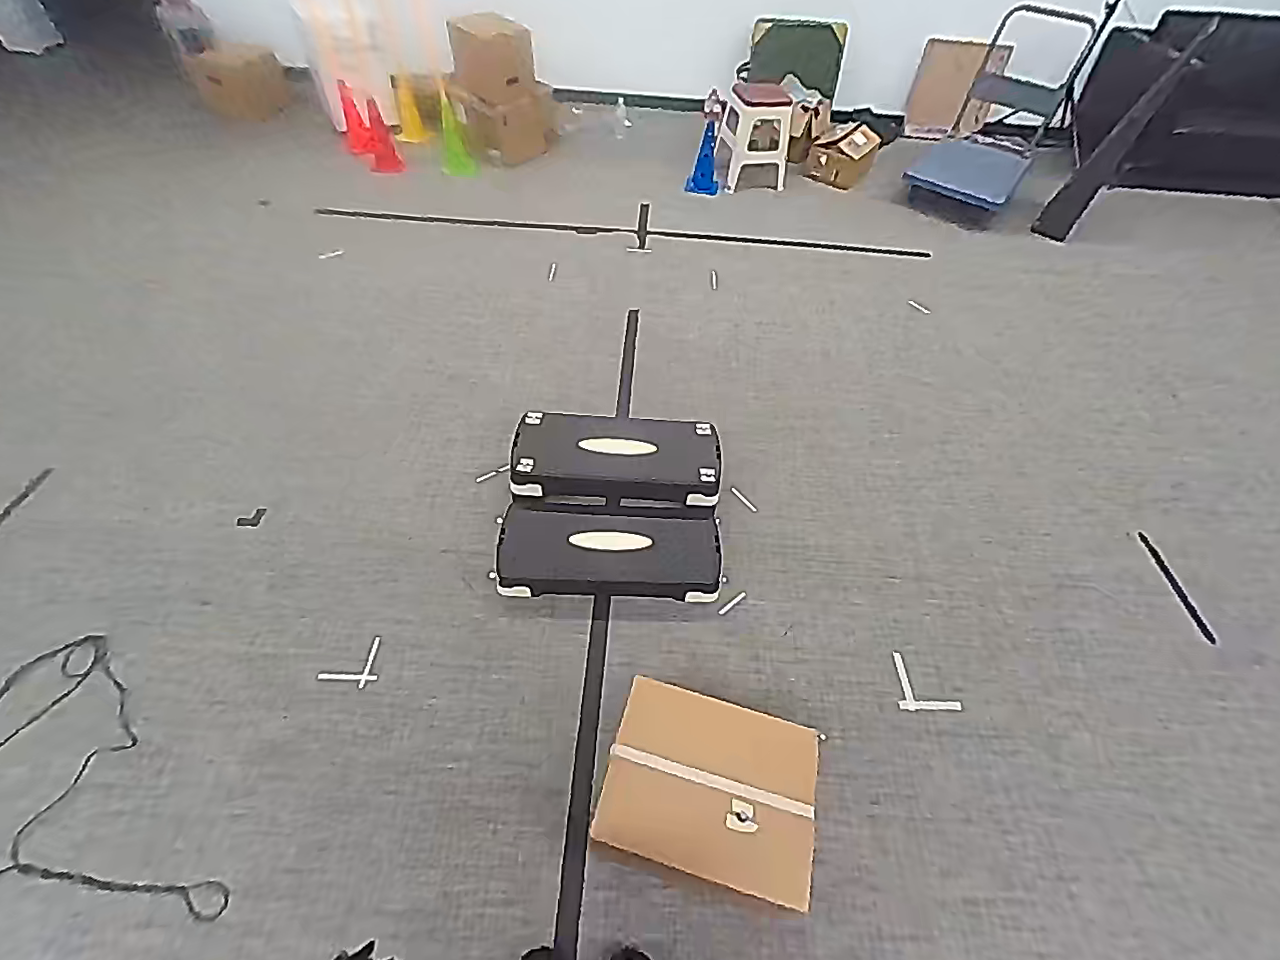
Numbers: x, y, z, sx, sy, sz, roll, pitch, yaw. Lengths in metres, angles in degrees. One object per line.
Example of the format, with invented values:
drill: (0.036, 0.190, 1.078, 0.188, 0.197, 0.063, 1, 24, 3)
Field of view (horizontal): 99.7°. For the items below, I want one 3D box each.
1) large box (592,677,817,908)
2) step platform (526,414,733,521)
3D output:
large box: (0.130, 0.682, 1.181, 0.408, 0.320, 0.320, 15, 52, 7)
step platform: (-0.033, -0.045, 1.811, 0.684, 0.204, 0.286, 4, 51, -2)
